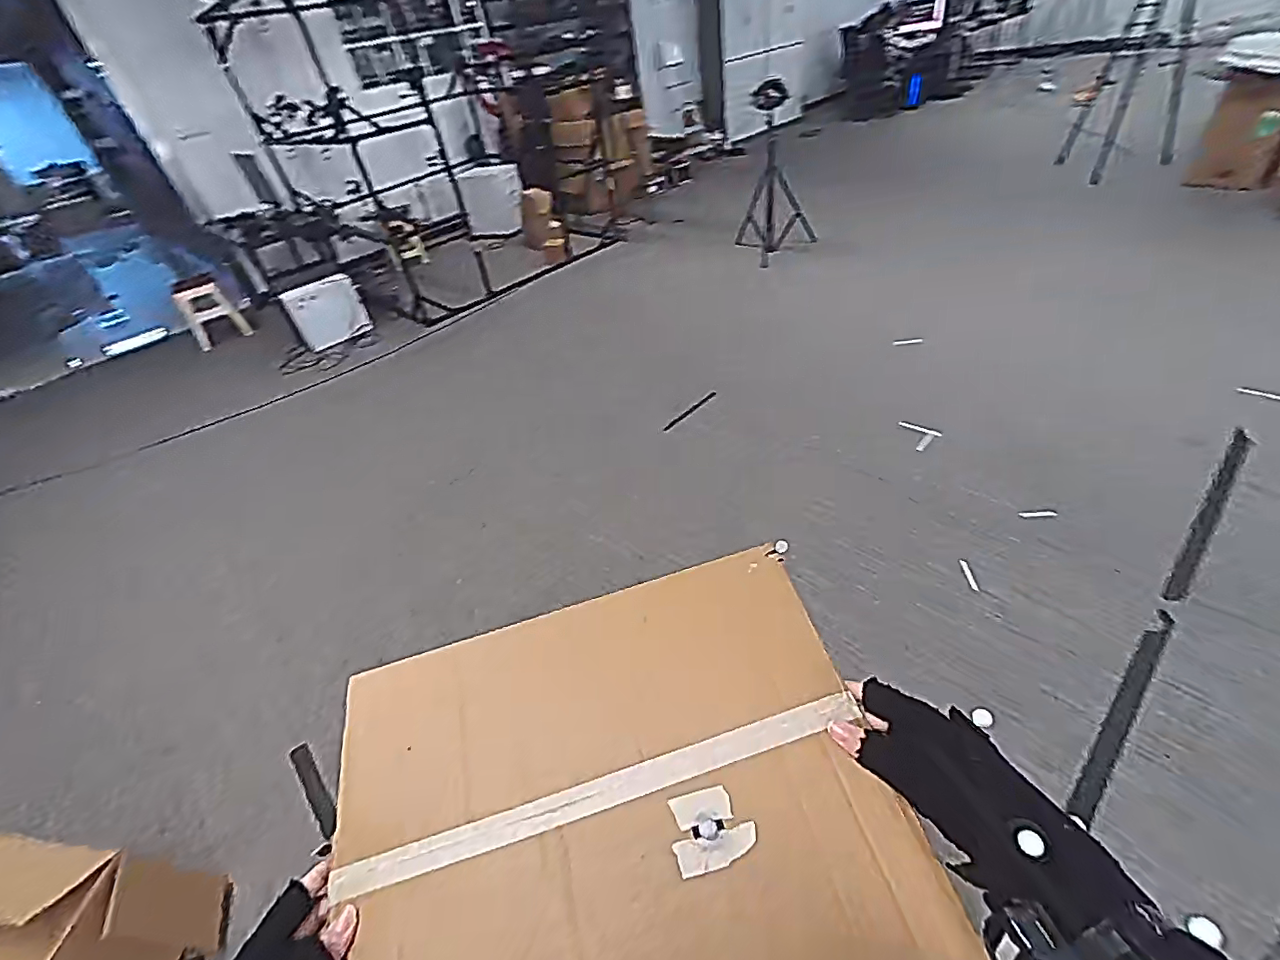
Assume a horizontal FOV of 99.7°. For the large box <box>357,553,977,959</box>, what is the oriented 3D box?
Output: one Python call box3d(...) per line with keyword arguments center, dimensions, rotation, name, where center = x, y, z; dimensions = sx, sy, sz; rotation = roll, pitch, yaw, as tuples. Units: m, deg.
box3d(center=(0.001, 0.332, 0.528), dimensions=(0.408, 0.320, 0.320), rotation=(-16, 51, -5), name="large box")
